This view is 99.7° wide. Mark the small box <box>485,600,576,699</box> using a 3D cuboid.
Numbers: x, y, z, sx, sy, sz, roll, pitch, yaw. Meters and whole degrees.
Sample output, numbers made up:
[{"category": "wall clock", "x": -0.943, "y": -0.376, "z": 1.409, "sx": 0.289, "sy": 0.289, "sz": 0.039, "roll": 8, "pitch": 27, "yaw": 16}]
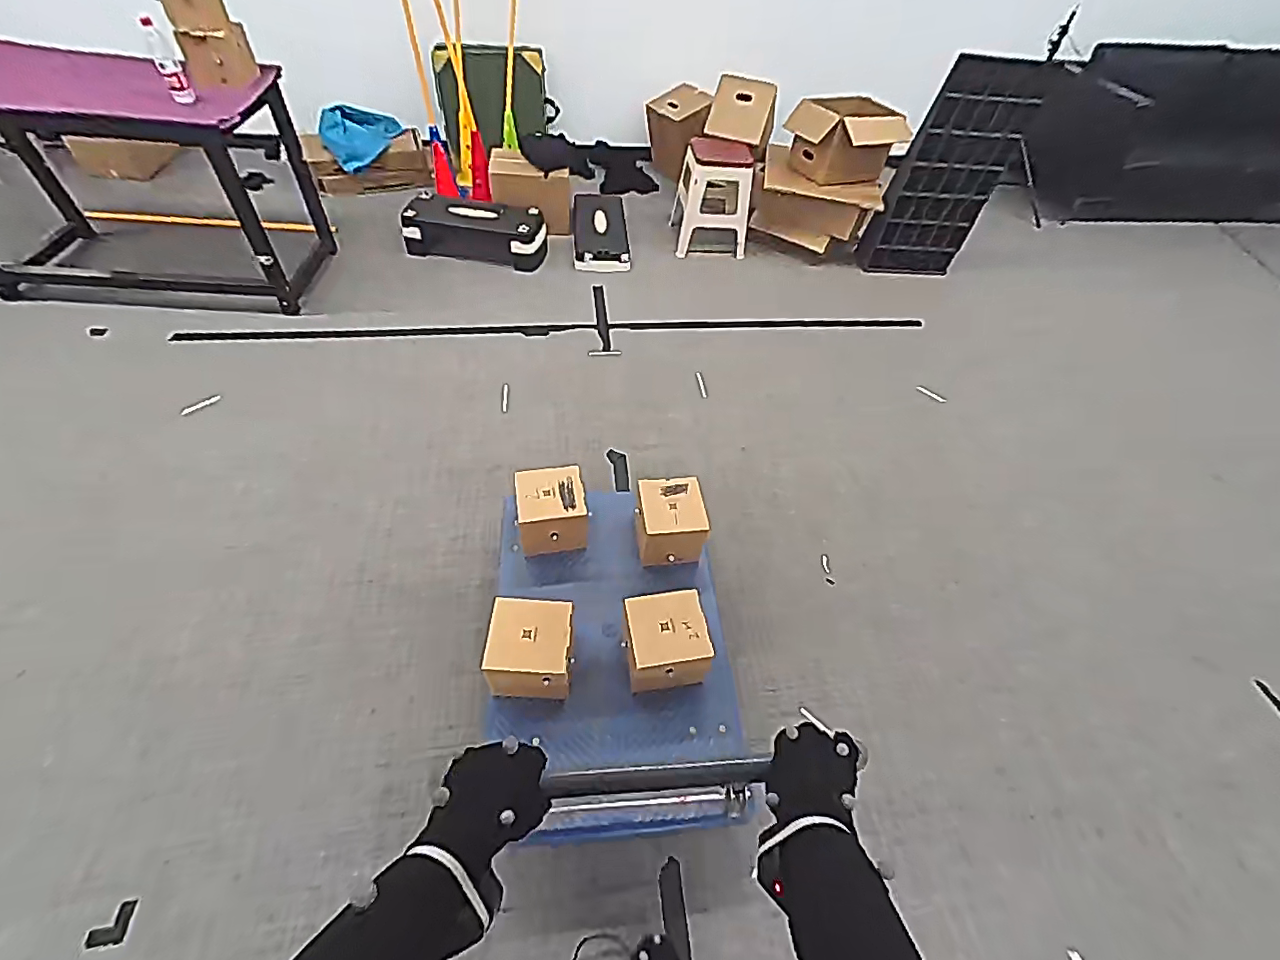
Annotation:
[{"category": "small box", "x": -0.243, "y": 0.391, "z": 1.237, "sx": 0.179, "sy": 0.176, "sz": 0.168, "roll": 6, "pitch": 50, "yaw": -5}]

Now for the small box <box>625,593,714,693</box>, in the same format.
[{"category": "small box", "x": 0.060, "y": 0.387, "z": 1.272, "sx": 0.179, "sy": 0.176, "sz": 0.168, "roll": -5, "pitch": 52, "yaw": -10}]

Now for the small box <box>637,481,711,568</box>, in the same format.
[{"category": "small box", "x": 0.086, "y": 0.123, "z": 1.485, "sx": 0.168, "sy": 0.176, "sz": 0.179, "roll": -3, "pitch": 53, "yaw": -8}]
